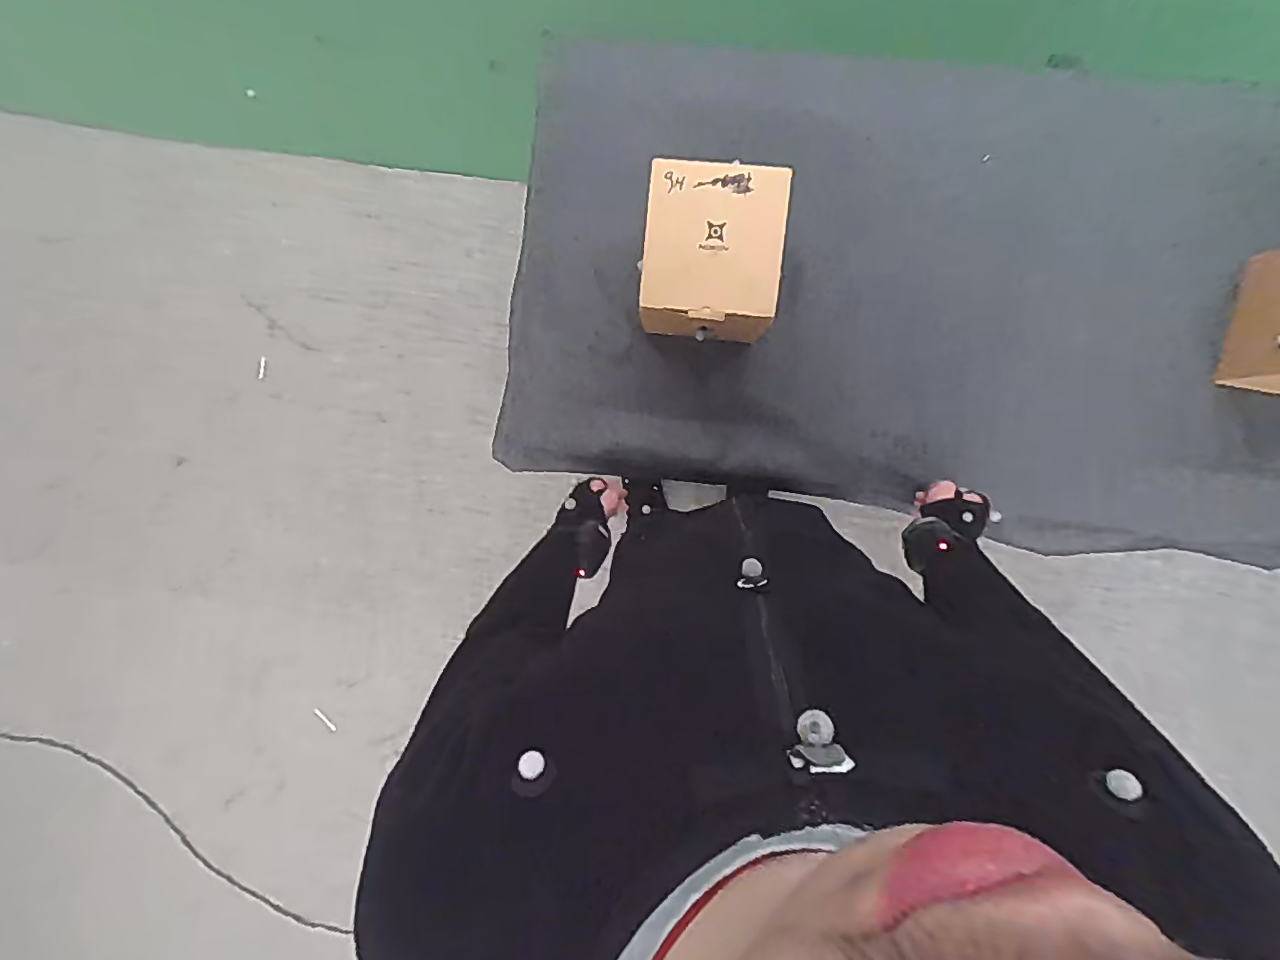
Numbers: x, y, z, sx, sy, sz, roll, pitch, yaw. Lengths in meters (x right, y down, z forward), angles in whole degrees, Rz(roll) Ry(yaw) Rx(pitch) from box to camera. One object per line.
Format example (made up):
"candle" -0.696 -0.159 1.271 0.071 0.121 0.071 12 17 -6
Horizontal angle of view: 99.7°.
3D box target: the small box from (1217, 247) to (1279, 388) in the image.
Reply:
"small box" 0.890 -0.202 0.668 0.168 0.176 0.179 11 95 2

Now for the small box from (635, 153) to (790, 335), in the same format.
"small box" 0.089 -0.296 0.714 0.168 0.176 0.179 6 96 3
